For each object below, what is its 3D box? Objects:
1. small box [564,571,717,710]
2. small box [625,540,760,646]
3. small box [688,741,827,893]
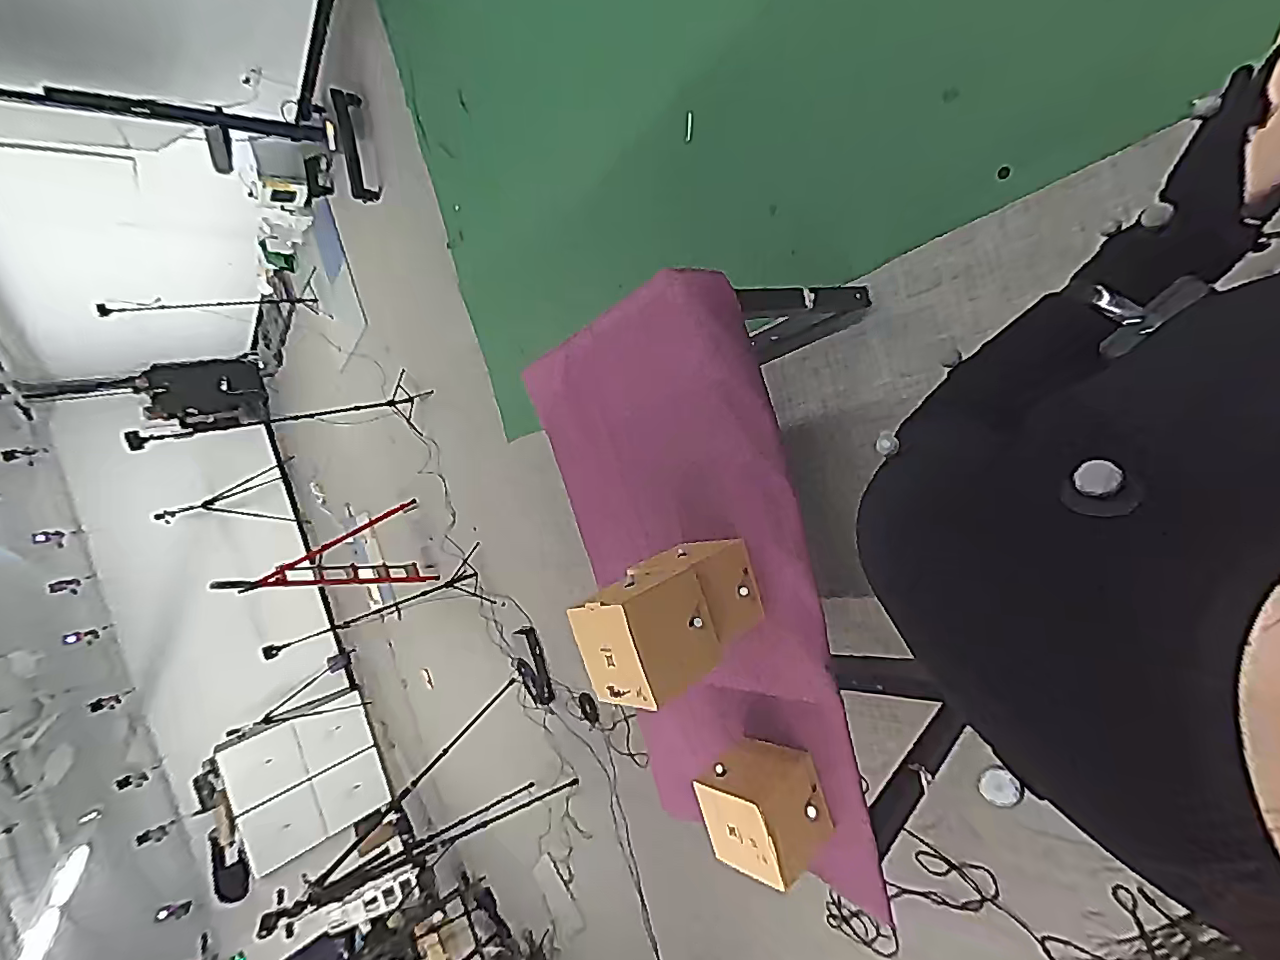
[{"bbox_3d":[0.003,0.263,0.926,0.168,0.176,0.179,-18,90,49],"label":"small box"},{"bbox_3d":[0.102,0.223,1.053,0.179,0.176,0.168,-13,94,49],"label":"small box"},{"bbox_3d":[0.228,0.639,1.053,0.179,0.176,0.168,-17,91,51],"label":"small box"}]
